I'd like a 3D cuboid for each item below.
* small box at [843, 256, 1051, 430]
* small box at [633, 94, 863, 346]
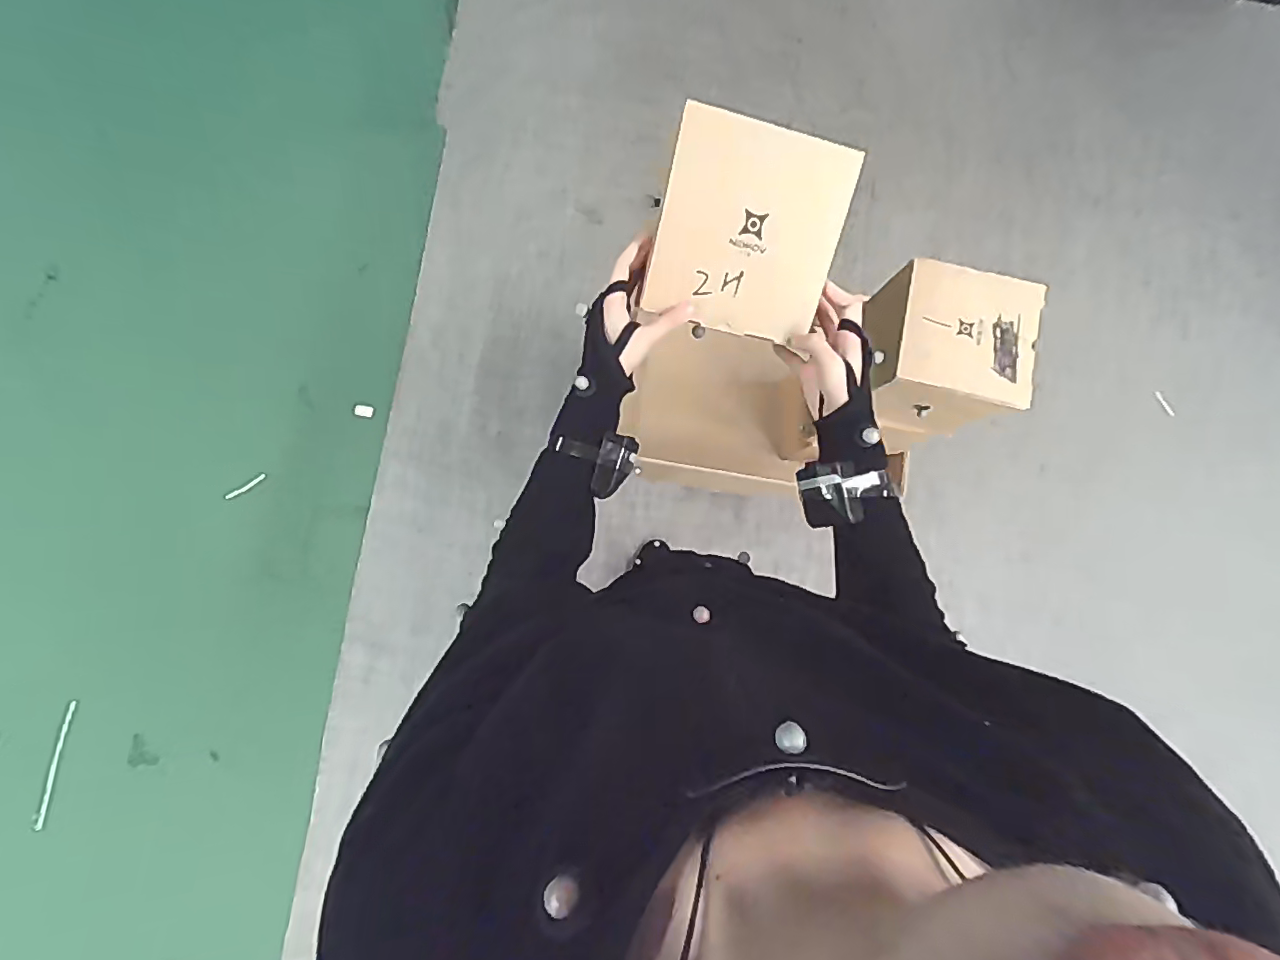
[{"bbox_3d":[0.409,-0.174,0.745,0.179,0.176,0.168,13,83,0],"label":"small box"},{"bbox_3d":[0.091,-0.250,0.558,0.168,0.176,0.179,11,108,-8],"label":"small box"}]
